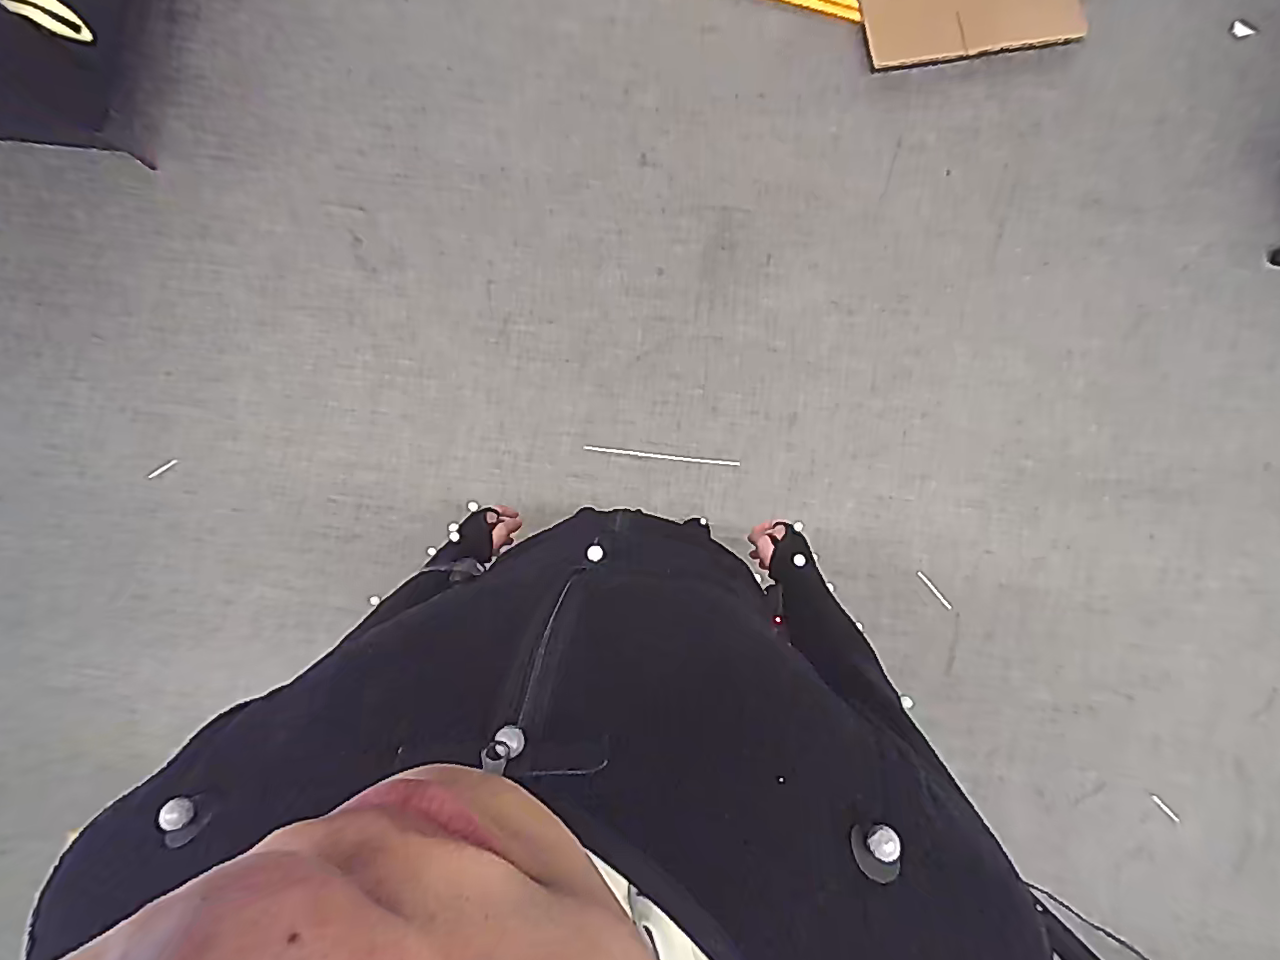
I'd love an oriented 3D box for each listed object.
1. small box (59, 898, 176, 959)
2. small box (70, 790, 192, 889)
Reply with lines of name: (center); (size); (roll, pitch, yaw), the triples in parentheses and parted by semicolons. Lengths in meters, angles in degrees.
small box: (-1.485, 1.333, 1.534); (0.179, 0.176, 0.168); (6, 86, 1)
small box: (-1.454, 1.021, 1.553); (0.179, 0.176, 0.168); (9, 87, 2)
